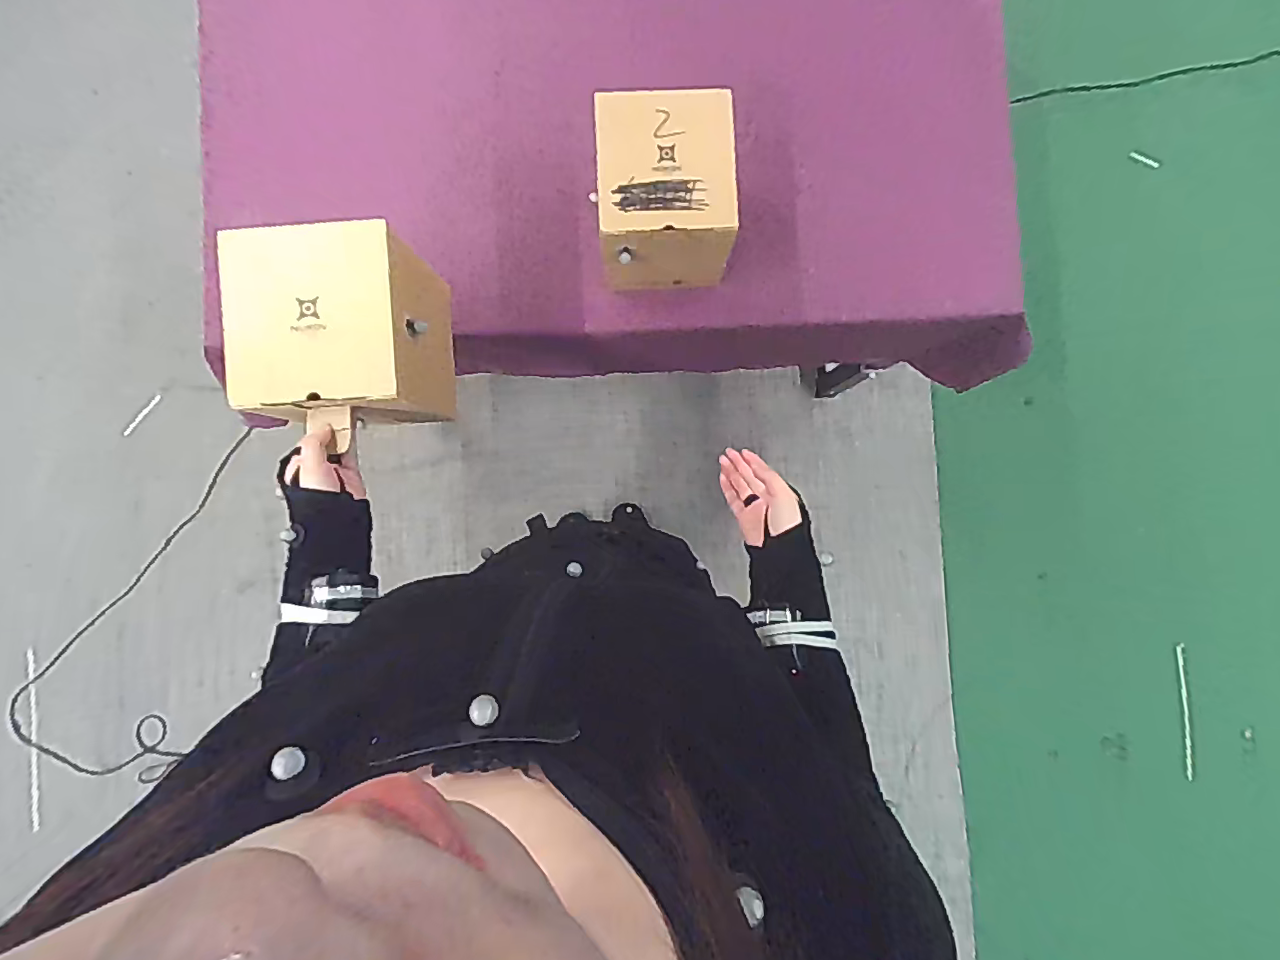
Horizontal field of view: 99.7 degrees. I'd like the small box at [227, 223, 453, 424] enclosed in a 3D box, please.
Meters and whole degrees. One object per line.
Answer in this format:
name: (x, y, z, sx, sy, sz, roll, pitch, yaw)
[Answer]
small box: (-0.321, -0.163, 0.610, 0.168, 0.176, 0.179, -3, 90, -1)
